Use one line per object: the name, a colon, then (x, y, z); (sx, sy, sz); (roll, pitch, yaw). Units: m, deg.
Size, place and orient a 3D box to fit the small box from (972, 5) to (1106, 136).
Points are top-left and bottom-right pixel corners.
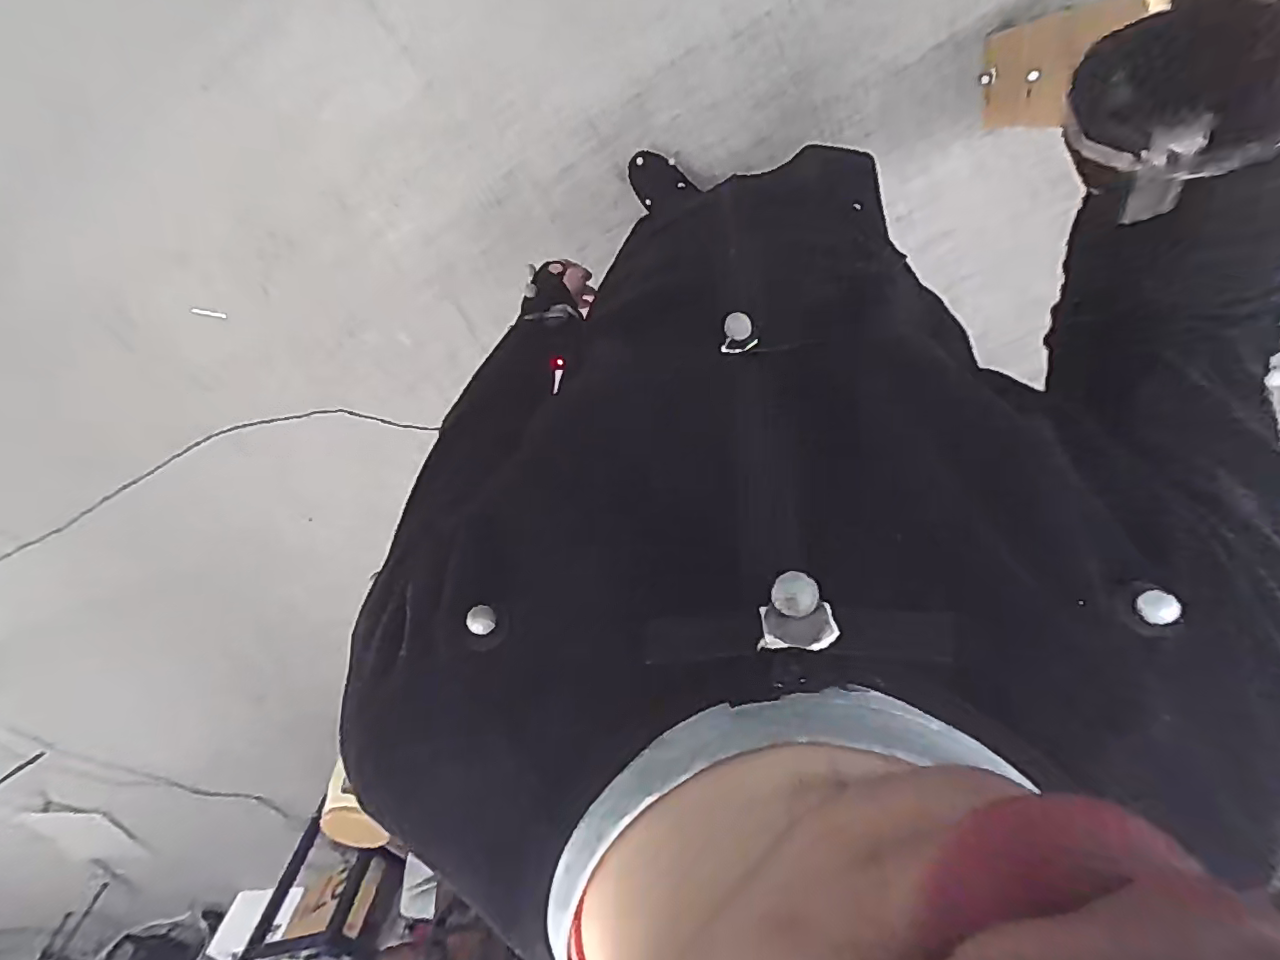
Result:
small box: (0.807, -0.822, 1.096); (0.179, 0.176, 0.168); (-14, 120, 13)
